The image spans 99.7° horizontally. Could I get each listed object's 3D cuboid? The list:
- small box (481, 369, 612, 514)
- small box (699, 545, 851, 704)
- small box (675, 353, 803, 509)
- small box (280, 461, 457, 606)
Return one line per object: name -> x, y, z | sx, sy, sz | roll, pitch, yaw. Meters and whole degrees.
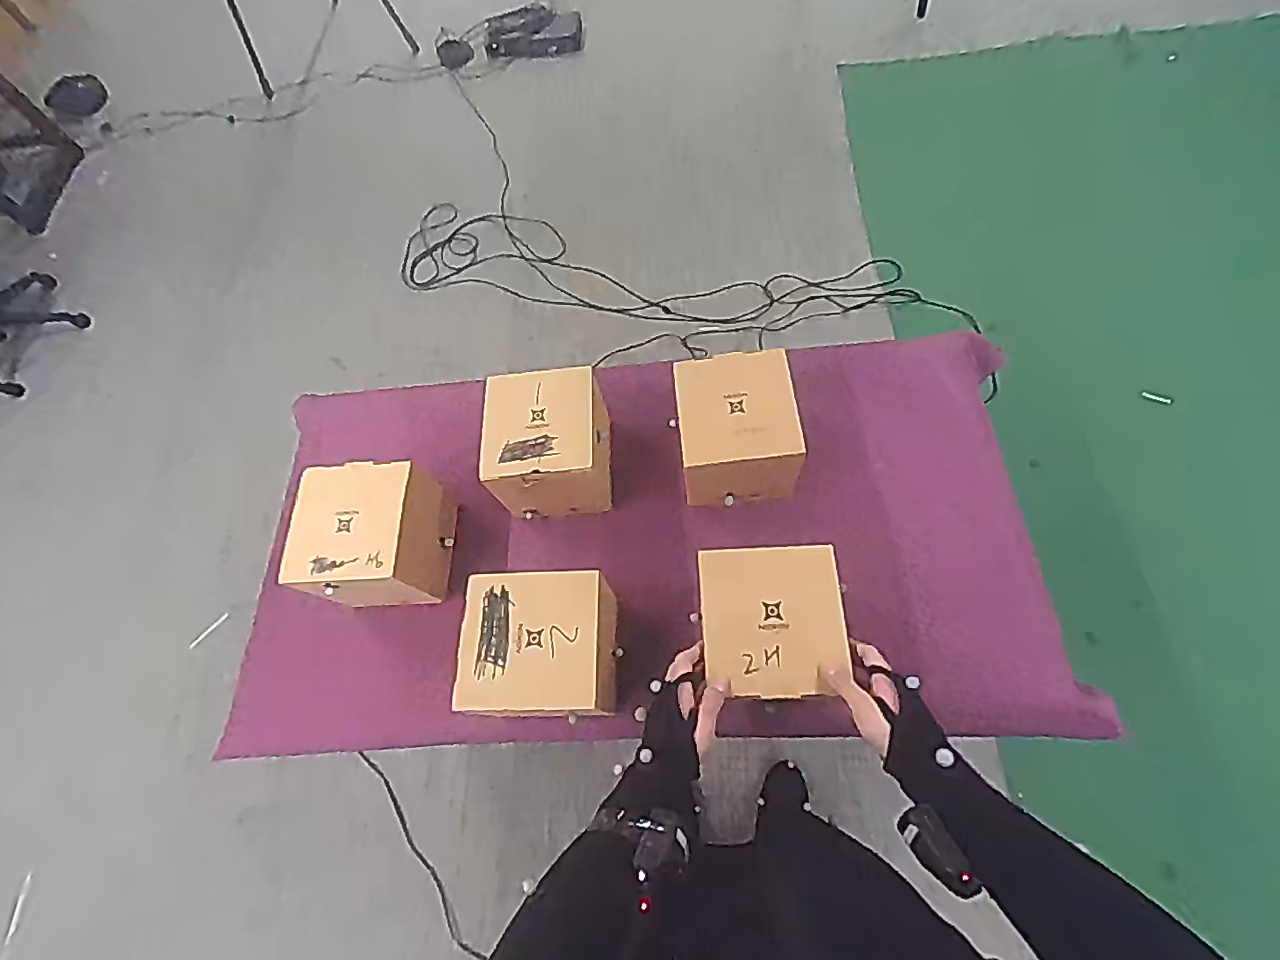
small box -> -0.139, -0.051, 0.862 | 0.168, 0.176, 0.179 | -5, 65, 5
small box -> 0.163, 0.196, 0.711 | 0.168, 0.176, 0.179 | -3, 66, 7
small box -> 0.144, -0.069, 0.836 | 0.168, 0.176, 0.179 | -6, 66, 6
small box -> -0.398, 0.088, 0.830 | 0.168, 0.176, 0.179 | -4, 65, 7
